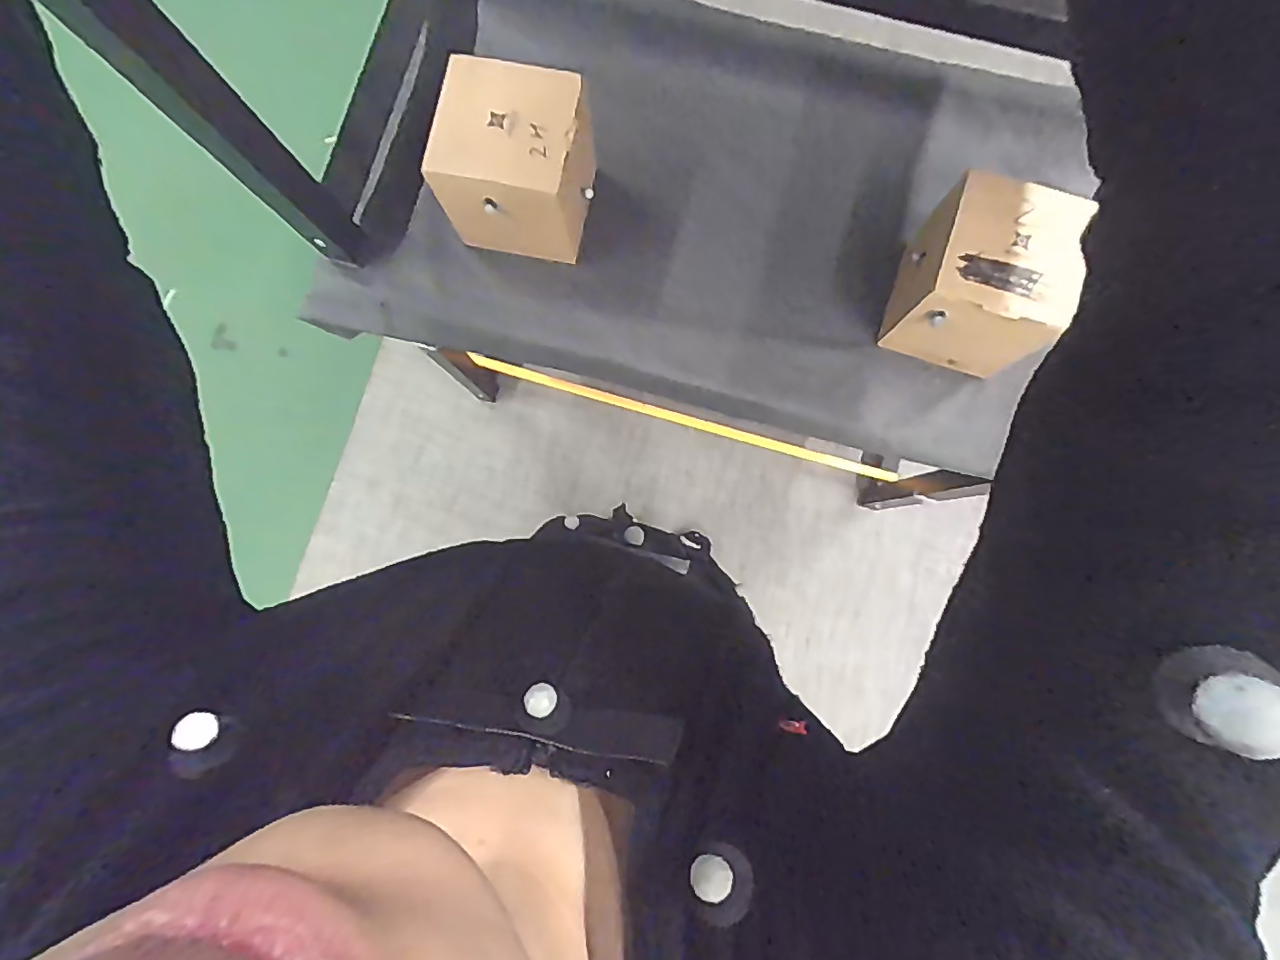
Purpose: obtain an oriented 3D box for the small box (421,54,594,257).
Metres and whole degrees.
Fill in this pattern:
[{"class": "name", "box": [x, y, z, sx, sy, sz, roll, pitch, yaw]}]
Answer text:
[{"class": "small box", "box": [-0.170, -0.436, 0.753, 0.179, 0.176, 0.168, 11, 84, 1]}]
